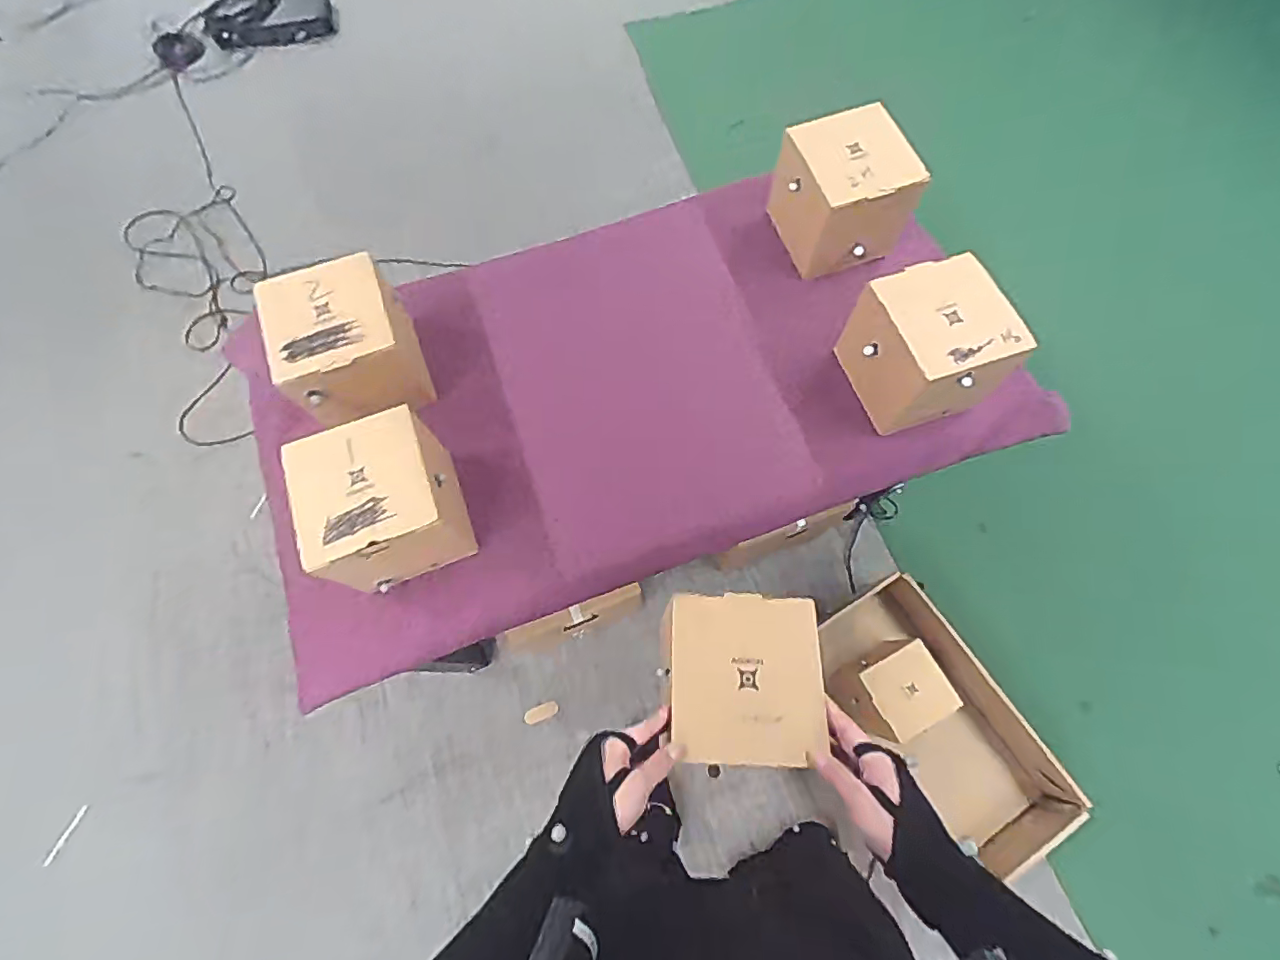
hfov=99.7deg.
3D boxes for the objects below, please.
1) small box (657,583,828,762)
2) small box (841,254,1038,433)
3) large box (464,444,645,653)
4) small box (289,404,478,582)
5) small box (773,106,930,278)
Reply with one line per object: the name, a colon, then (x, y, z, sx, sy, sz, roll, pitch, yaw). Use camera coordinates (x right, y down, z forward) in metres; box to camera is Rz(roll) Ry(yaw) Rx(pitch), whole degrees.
small box: (0.109, 0.236, 0.651, 0.168, 0.176, 0.179, 3, 64, -1)
small box: (0.432, -0.199, 0.818, 0.168, 0.176, 0.179, -18, 68, -4)
large box: (-0.204, 0.188, 1.392, 0.320, 0.320, 0.408, -21, 70, -8)
small box: (-0.341, 0.030, 0.746, 0.168, 0.176, 0.179, -21, 69, -7)
small box: (0.344, -0.482, 0.922, 0.168, 0.176, 0.179, -18, 72, -3)
